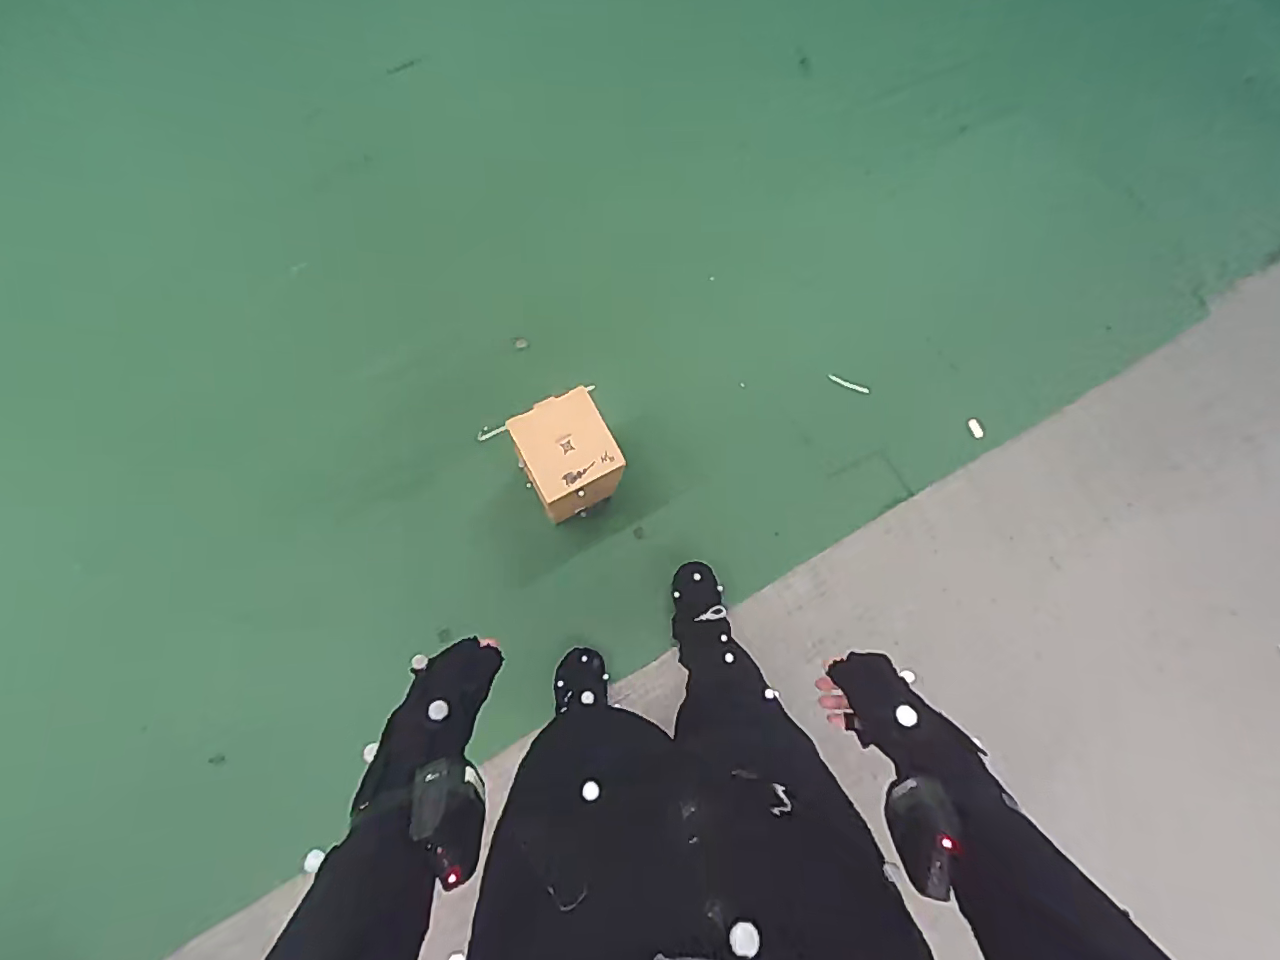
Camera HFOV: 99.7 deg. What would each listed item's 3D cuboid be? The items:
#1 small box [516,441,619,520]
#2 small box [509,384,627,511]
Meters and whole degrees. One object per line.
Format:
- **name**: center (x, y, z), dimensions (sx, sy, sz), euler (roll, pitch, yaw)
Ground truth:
- **small box**: center (-0.161, -0.025, 1.216), dimensions (0.168, 0.176, 0.179), euler (-26, 83, -9)
- **small box**: center (-0.142, -0.056, 1.076), dimensions (0.168, 0.176, 0.179), euler (-27, 82, -10)
